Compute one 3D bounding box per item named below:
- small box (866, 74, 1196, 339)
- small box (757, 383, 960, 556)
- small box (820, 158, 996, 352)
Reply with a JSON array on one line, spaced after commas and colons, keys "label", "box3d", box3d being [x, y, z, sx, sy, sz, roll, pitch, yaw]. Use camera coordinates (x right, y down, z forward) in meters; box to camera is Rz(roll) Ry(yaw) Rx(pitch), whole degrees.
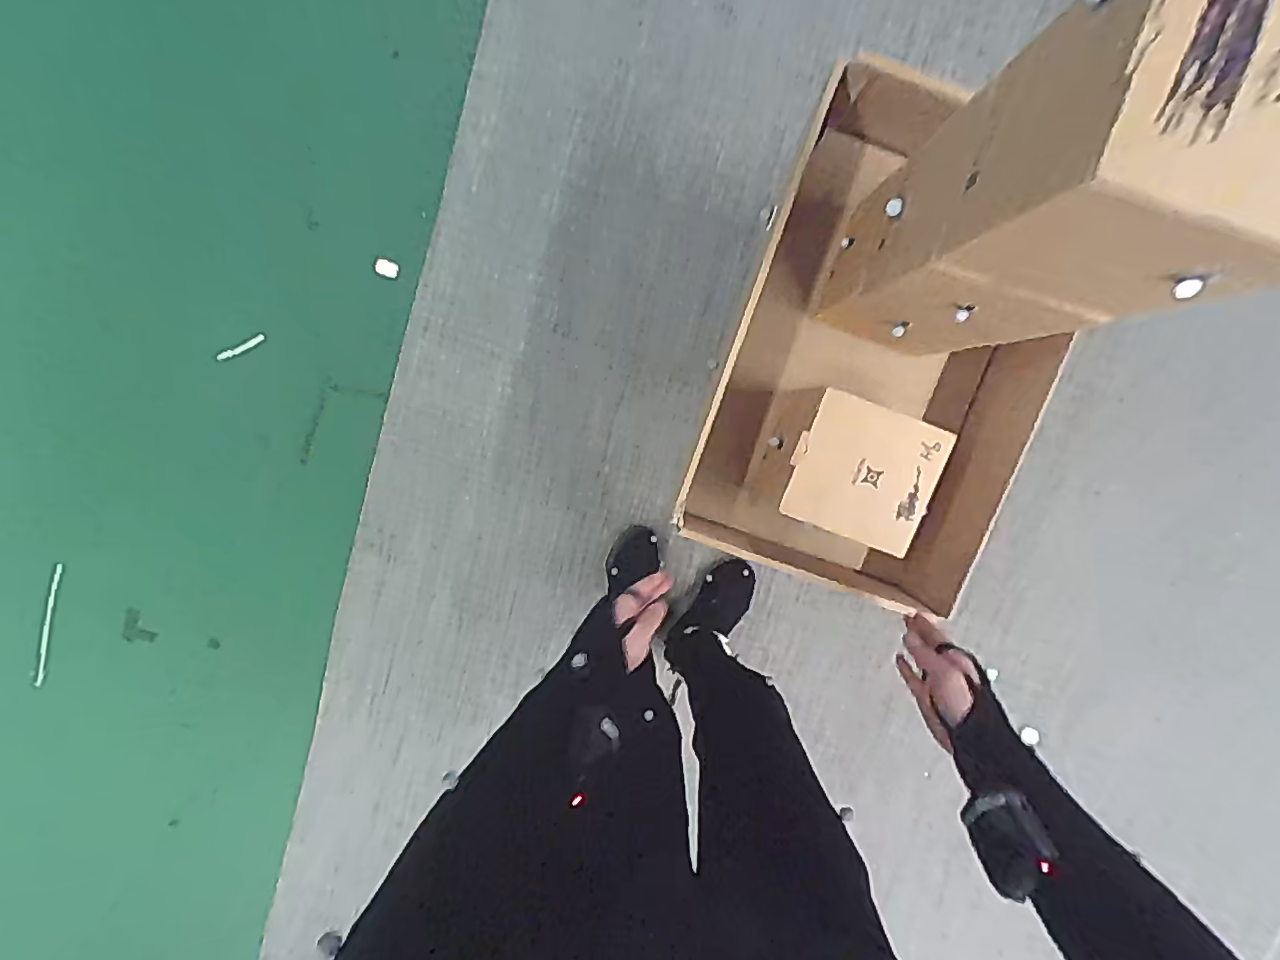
[{"label": "small box", "box3d": [0.365, -0.249, 0.543, 0.179, 0.176, 0.168, 18, 97, -2]}, {"label": "small box", "box3d": [0.278, -0.019, 0.735, 0.179, 0.176, 0.168, 21, 96, -2]}, {"label": "small box", "box3d": [0.367, -0.274, 0.706, 0.179, 0.176, 0.168, 20, 97, -2]}]
